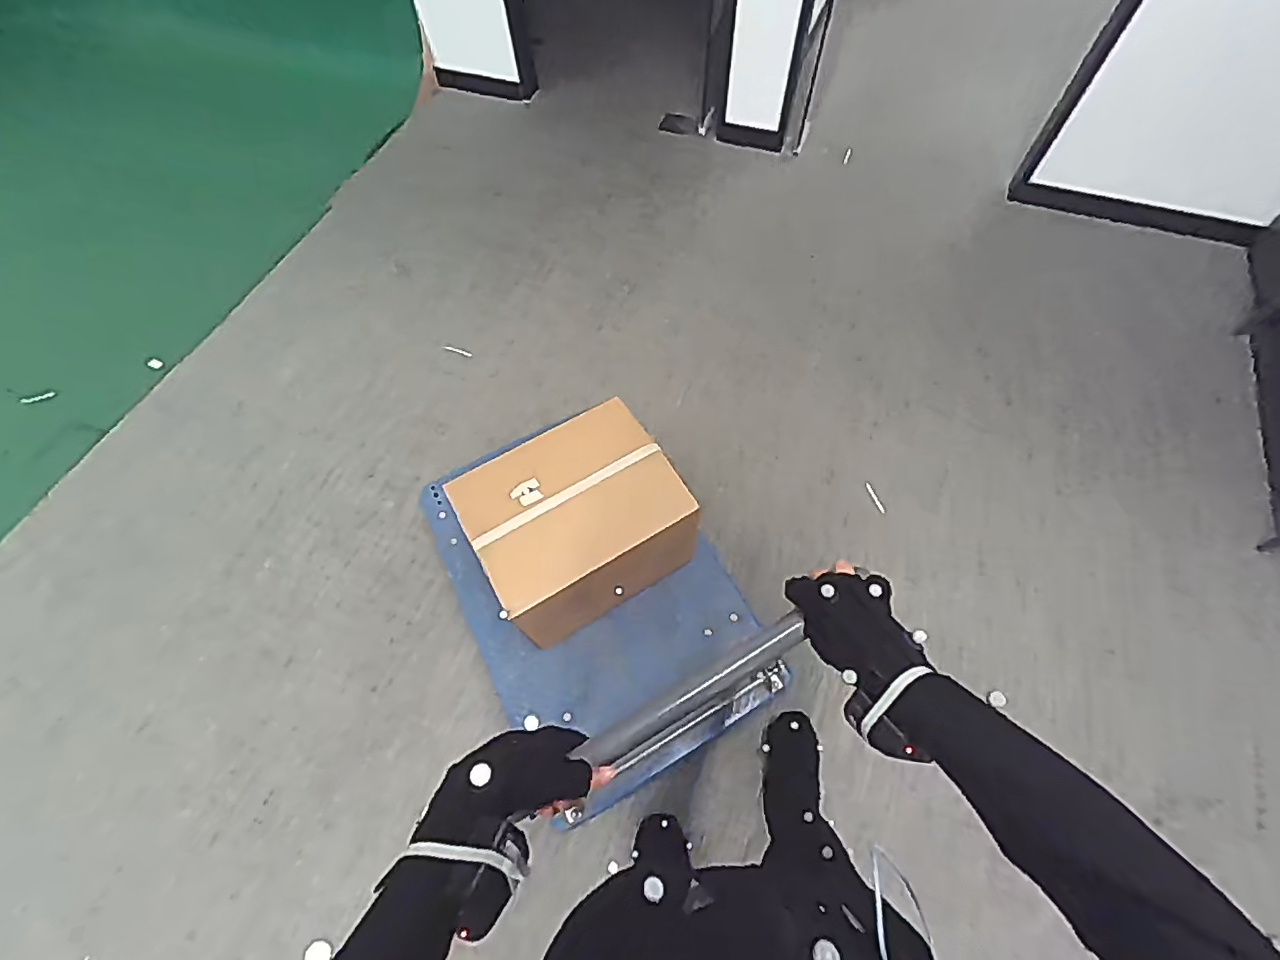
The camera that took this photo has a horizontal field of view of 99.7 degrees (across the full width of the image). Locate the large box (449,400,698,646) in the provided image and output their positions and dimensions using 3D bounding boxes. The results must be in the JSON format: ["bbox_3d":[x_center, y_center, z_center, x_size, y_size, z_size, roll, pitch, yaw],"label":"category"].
[{"bbox_3d":[-0.127,0.102,1.181,0.408,0.320,0.320,-30,65,-13],"label":"large box"}]
